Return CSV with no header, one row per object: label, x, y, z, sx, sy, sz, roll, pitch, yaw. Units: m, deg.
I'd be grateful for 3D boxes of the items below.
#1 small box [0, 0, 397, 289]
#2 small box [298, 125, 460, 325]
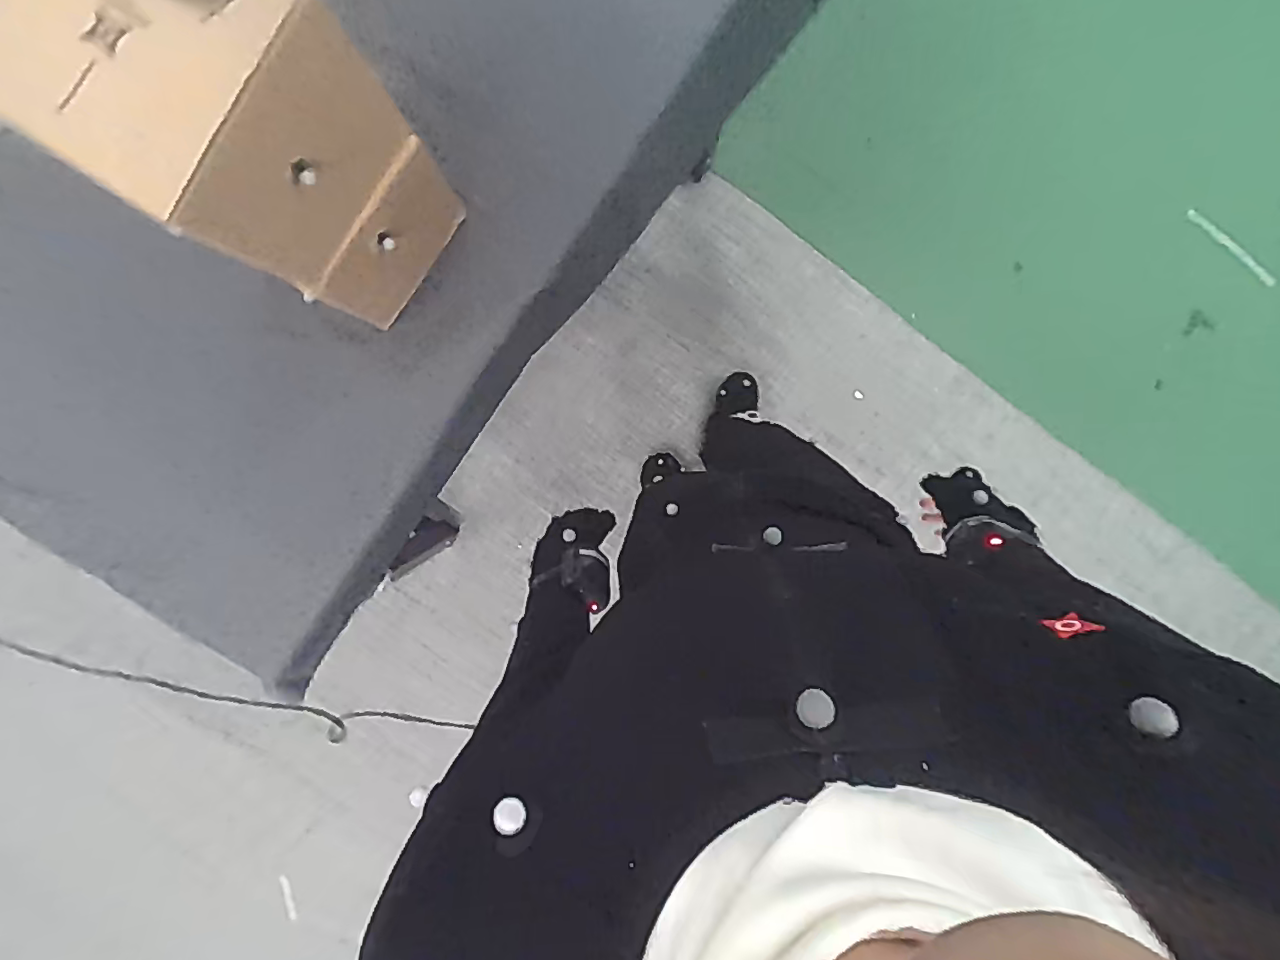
small box,-0.317,-0.279,0.413,0.168,0.176,0.179,33,94,-5
small box,-0.320,-0.291,0.577,0.168,0.176,0.179,35,92,-5
